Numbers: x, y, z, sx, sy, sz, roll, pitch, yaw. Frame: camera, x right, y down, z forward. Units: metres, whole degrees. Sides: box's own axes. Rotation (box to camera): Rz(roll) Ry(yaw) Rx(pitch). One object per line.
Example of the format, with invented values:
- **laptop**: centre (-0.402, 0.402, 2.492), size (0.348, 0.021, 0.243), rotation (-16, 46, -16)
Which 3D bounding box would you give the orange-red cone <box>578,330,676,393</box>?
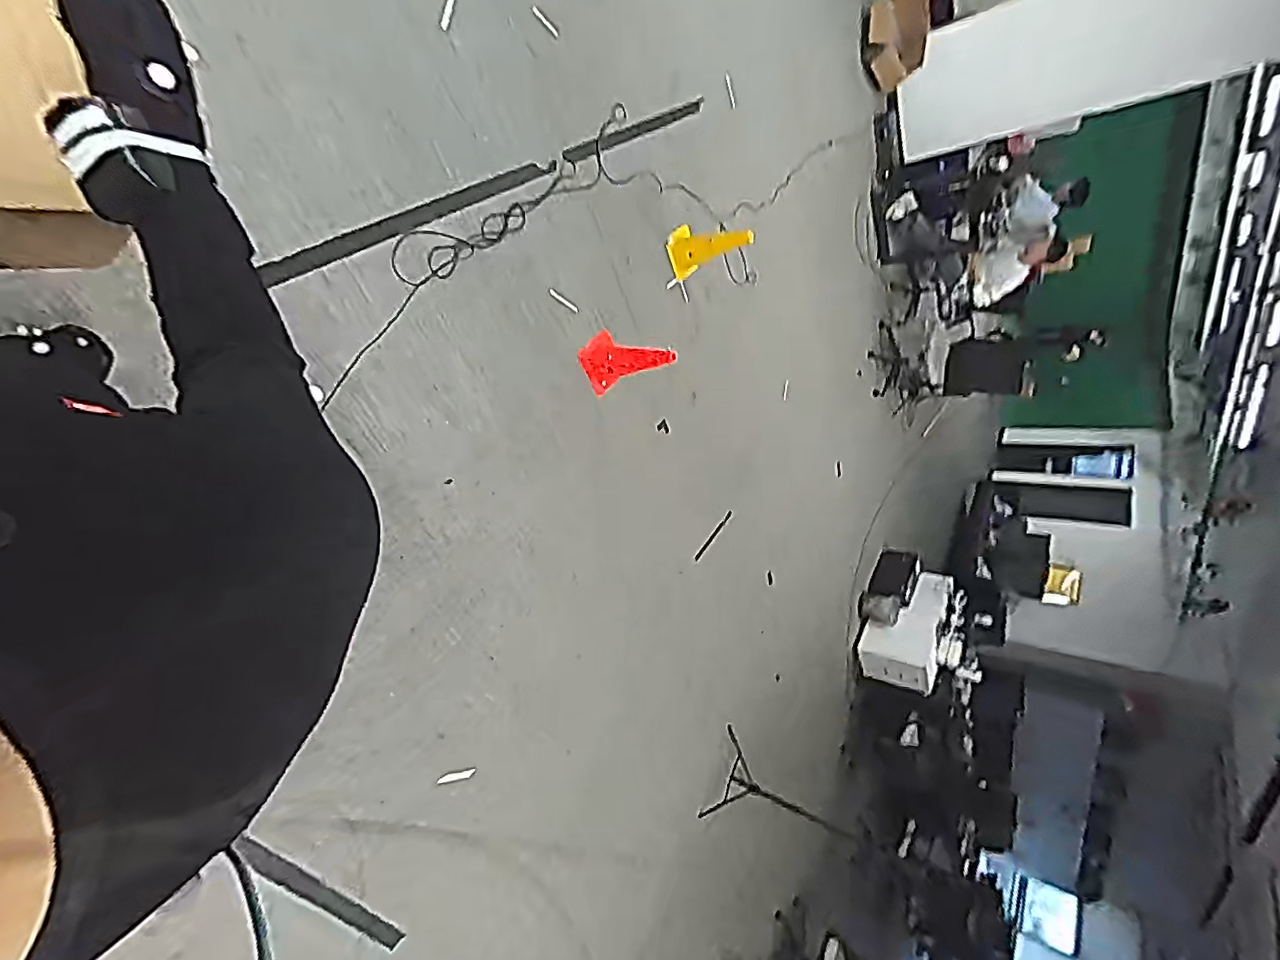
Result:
- **orange-red cone**: centre (-0.021, -0.455, 2.016), size (0.199, 0.360, 0.198), rotation (-52, 131, -35)
